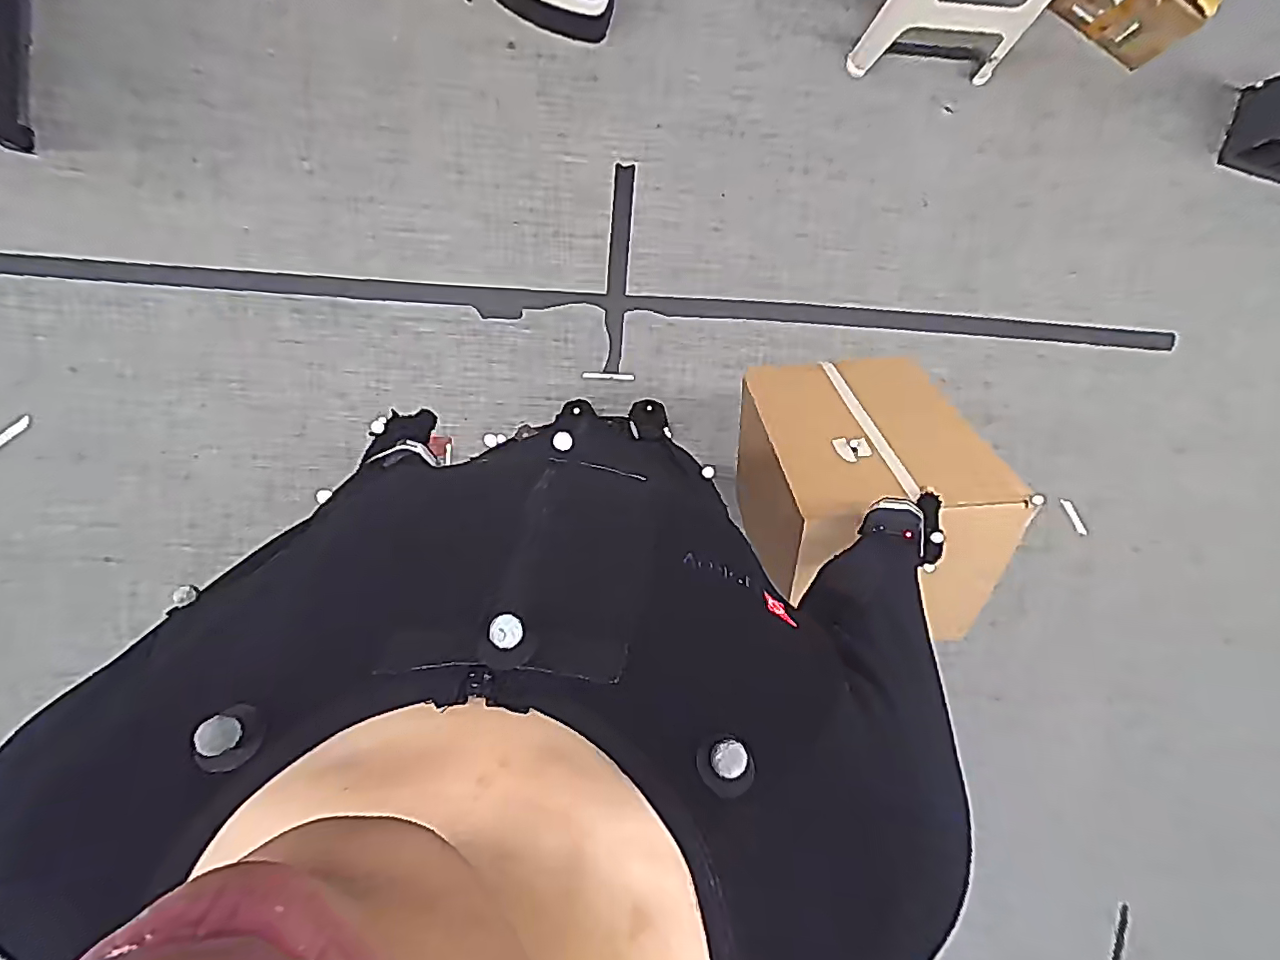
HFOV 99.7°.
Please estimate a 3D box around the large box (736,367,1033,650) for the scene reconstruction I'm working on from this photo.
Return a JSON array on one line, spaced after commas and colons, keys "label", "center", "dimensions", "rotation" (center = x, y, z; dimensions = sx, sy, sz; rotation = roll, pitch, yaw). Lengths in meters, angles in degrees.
[{"label": "large box", "center": [0.373, 0.038, 0.971], "dimensions": [0.320, 0.408, 0.320], "rotation": [-6, 131, 0]}]
